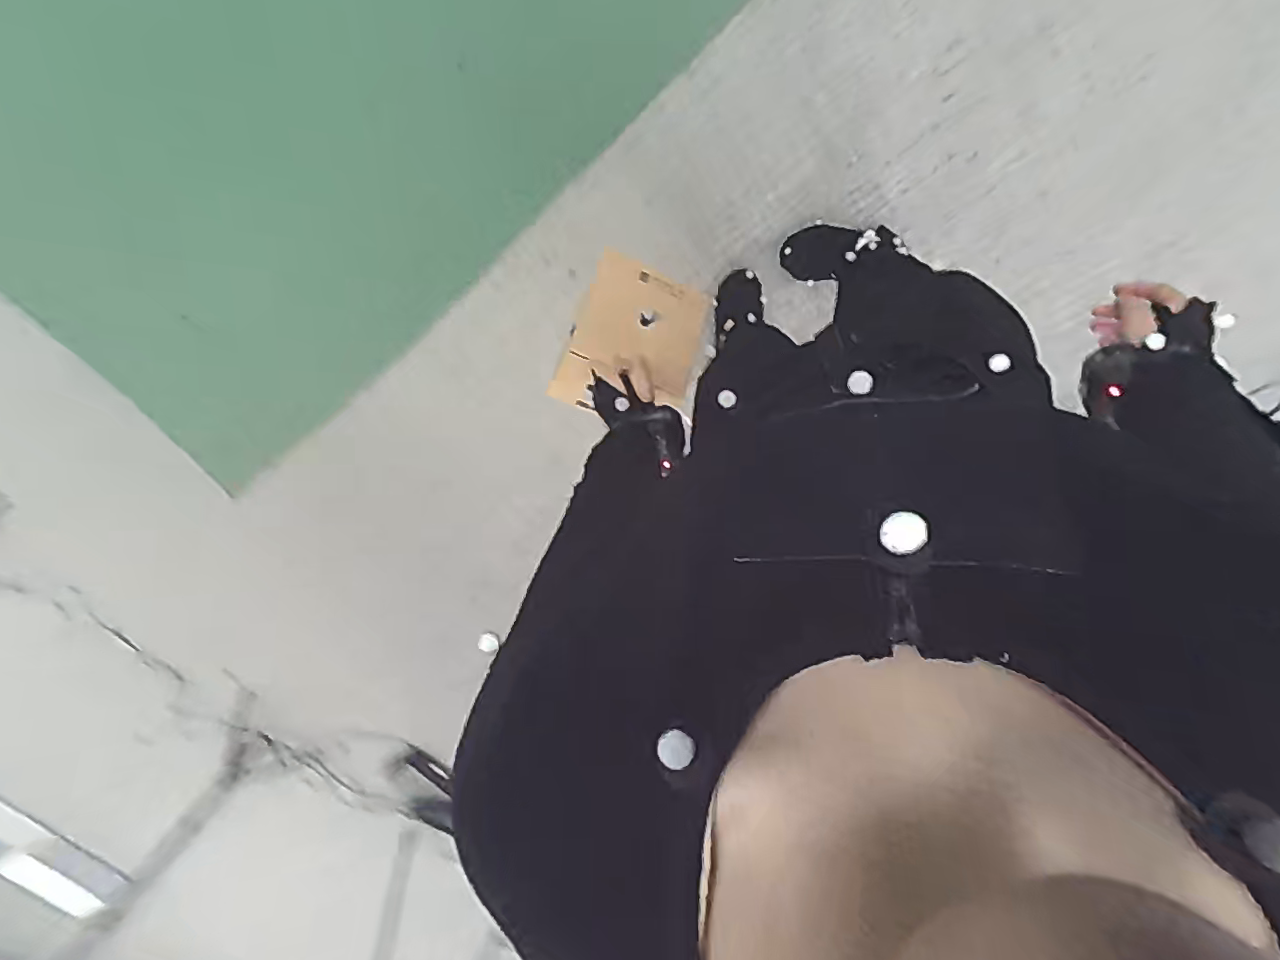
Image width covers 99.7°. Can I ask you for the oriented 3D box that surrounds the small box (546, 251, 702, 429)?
[{"bbox_3d":[-0.023,-0.201,0.804,0.168,0.176,0.179,22,163,-17],"label":"small box"}]
